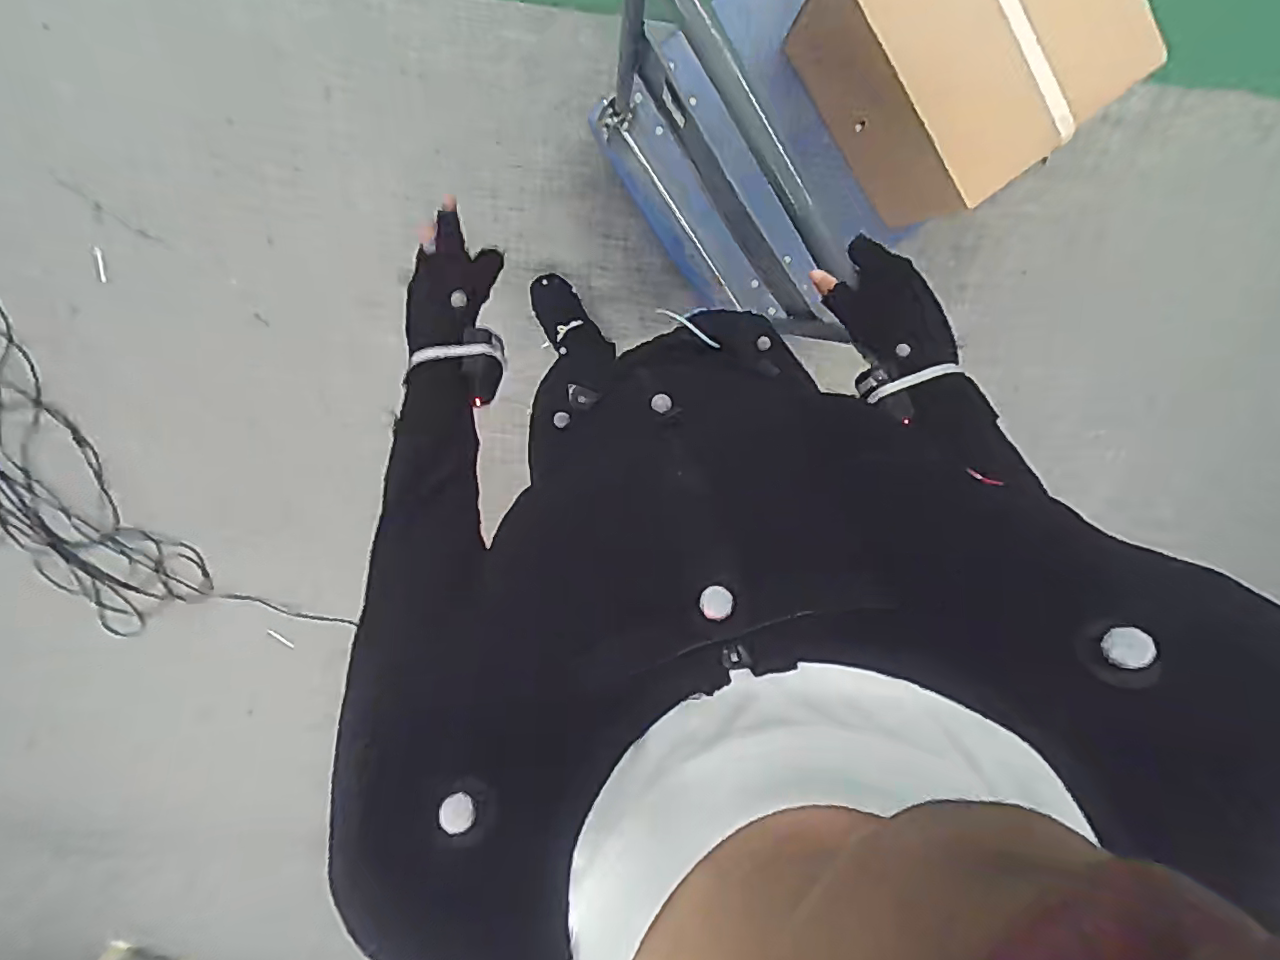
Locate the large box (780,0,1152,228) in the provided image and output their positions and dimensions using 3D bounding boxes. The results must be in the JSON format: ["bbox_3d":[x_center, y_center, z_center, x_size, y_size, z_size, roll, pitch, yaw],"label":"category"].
[{"bbox_3d":[0.495,-0.701,0.897,0.320,0.320,0.408,-37,105,12],"label":"large box"}]
